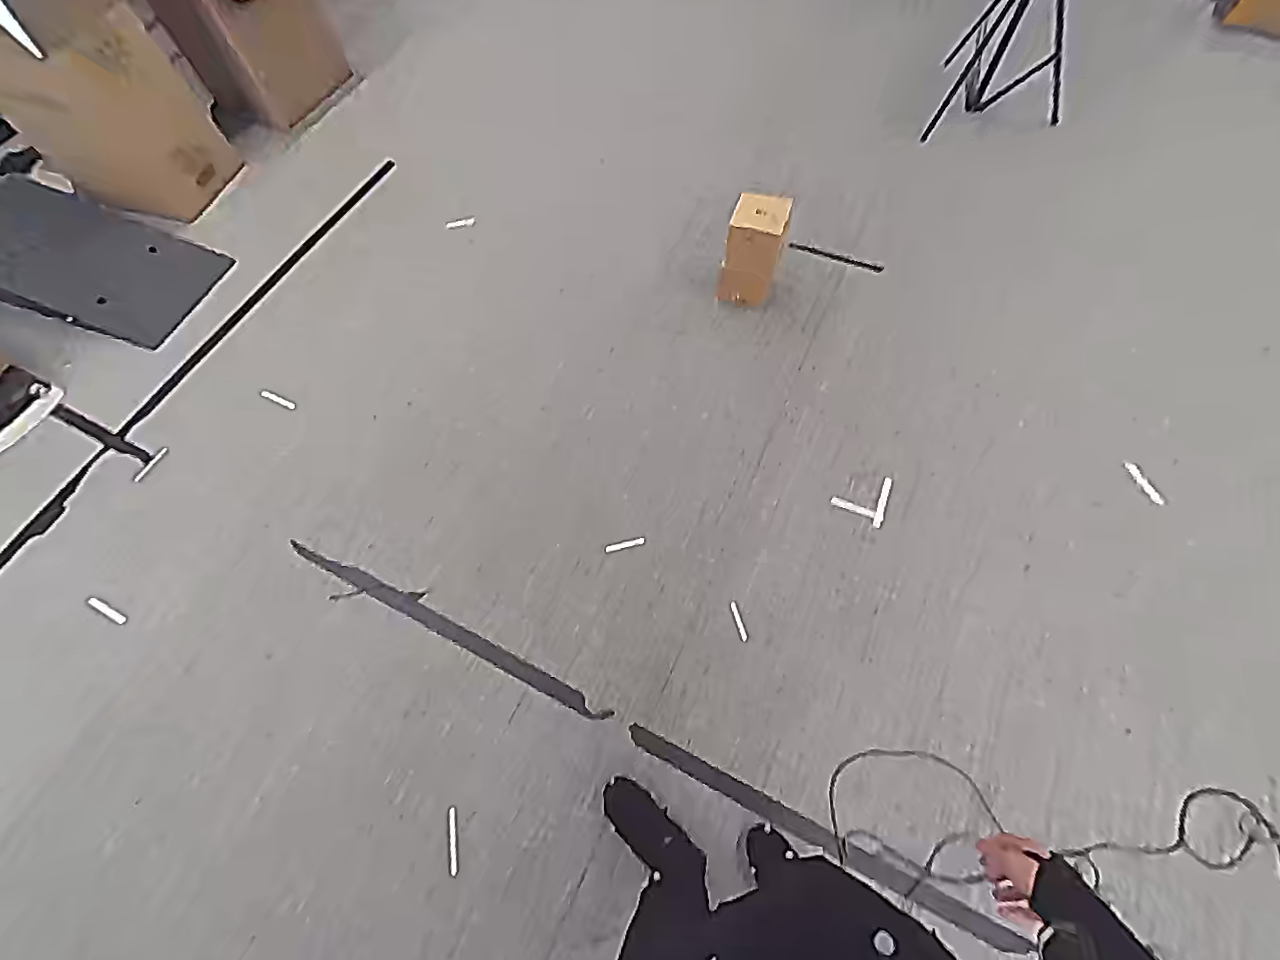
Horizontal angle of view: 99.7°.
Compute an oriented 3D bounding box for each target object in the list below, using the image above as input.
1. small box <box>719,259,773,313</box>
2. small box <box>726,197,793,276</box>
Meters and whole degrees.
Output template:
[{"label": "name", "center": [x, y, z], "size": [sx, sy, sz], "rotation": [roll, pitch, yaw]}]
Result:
[{"label": "small box", "center": [0.393, -0.746, 1.969], "size": [0.168, 0.176, 0.179], "rotation": [19, 67, 12]}, {"label": "small box", "center": [0.397, -0.815, 1.820], "size": [0.179, 0.176, 0.168], "rotation": [18, 67, 12]}]
